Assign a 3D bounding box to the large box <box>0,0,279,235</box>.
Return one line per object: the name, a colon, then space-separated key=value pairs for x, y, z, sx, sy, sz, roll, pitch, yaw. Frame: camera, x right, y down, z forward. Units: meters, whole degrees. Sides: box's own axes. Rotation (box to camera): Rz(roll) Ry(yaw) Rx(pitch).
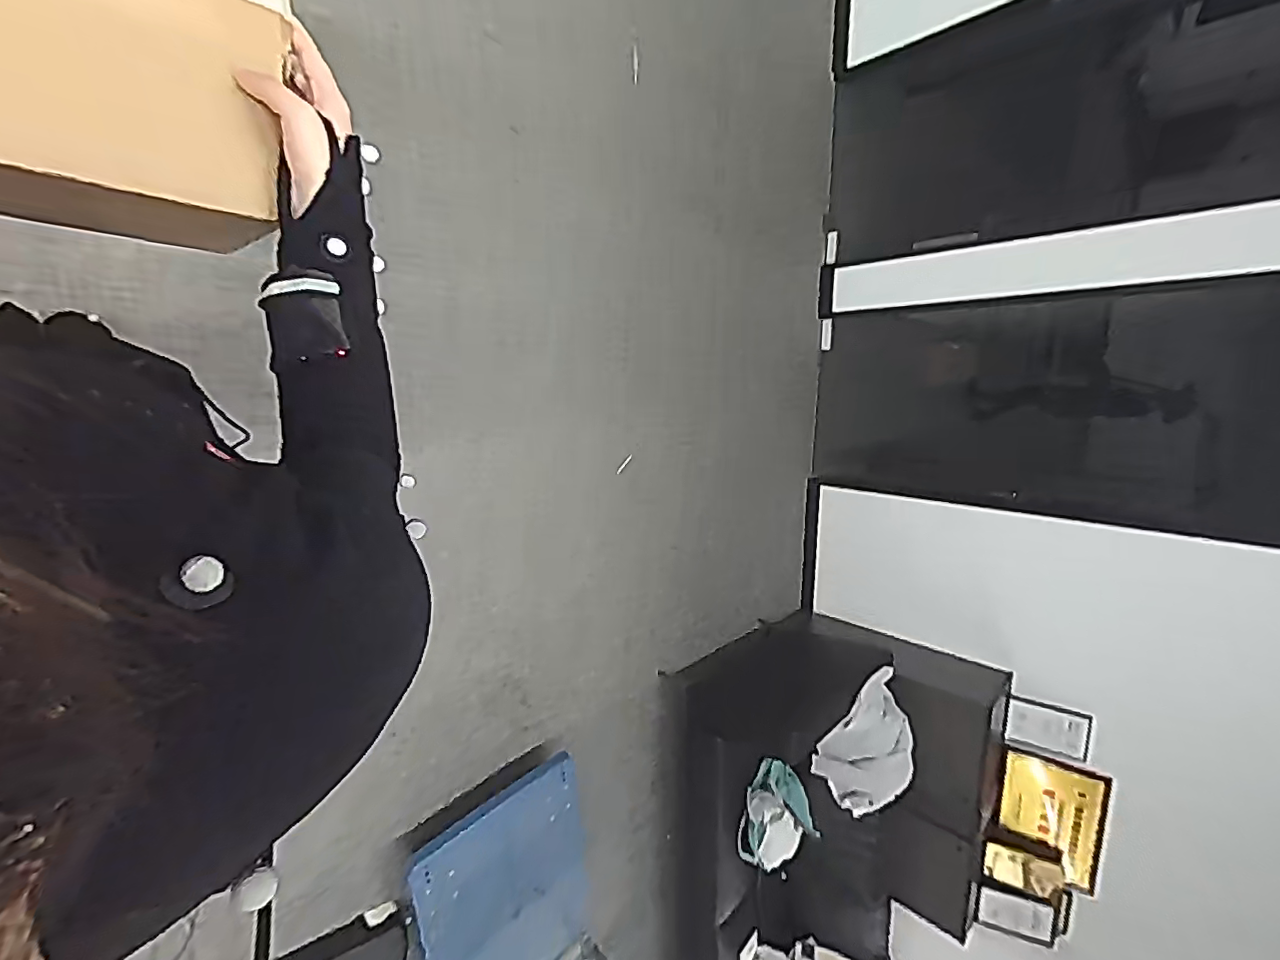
large box: x=-0.528 y=-0.384 z=0.383 sx=0.408 sy=0.320 sz=0.320 roll=-6 pitch=107 yaw=-42
